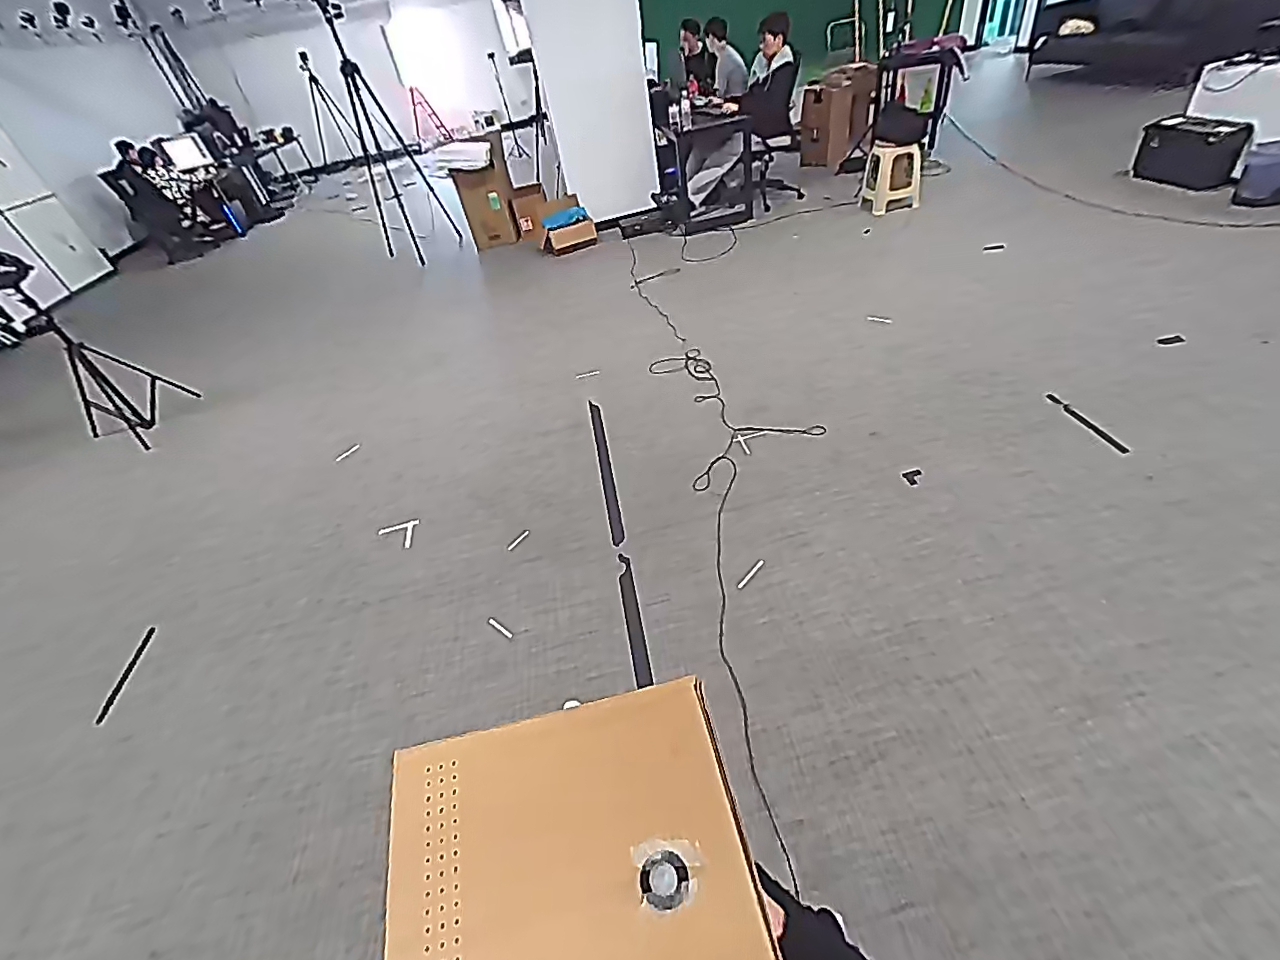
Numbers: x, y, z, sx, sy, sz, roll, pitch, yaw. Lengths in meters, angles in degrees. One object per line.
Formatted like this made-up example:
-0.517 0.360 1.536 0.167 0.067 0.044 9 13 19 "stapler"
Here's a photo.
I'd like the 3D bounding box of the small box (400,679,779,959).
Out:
-0.026 0.242 0.310 0.176 0.168 0.179 -13 53 -3 "small box"
